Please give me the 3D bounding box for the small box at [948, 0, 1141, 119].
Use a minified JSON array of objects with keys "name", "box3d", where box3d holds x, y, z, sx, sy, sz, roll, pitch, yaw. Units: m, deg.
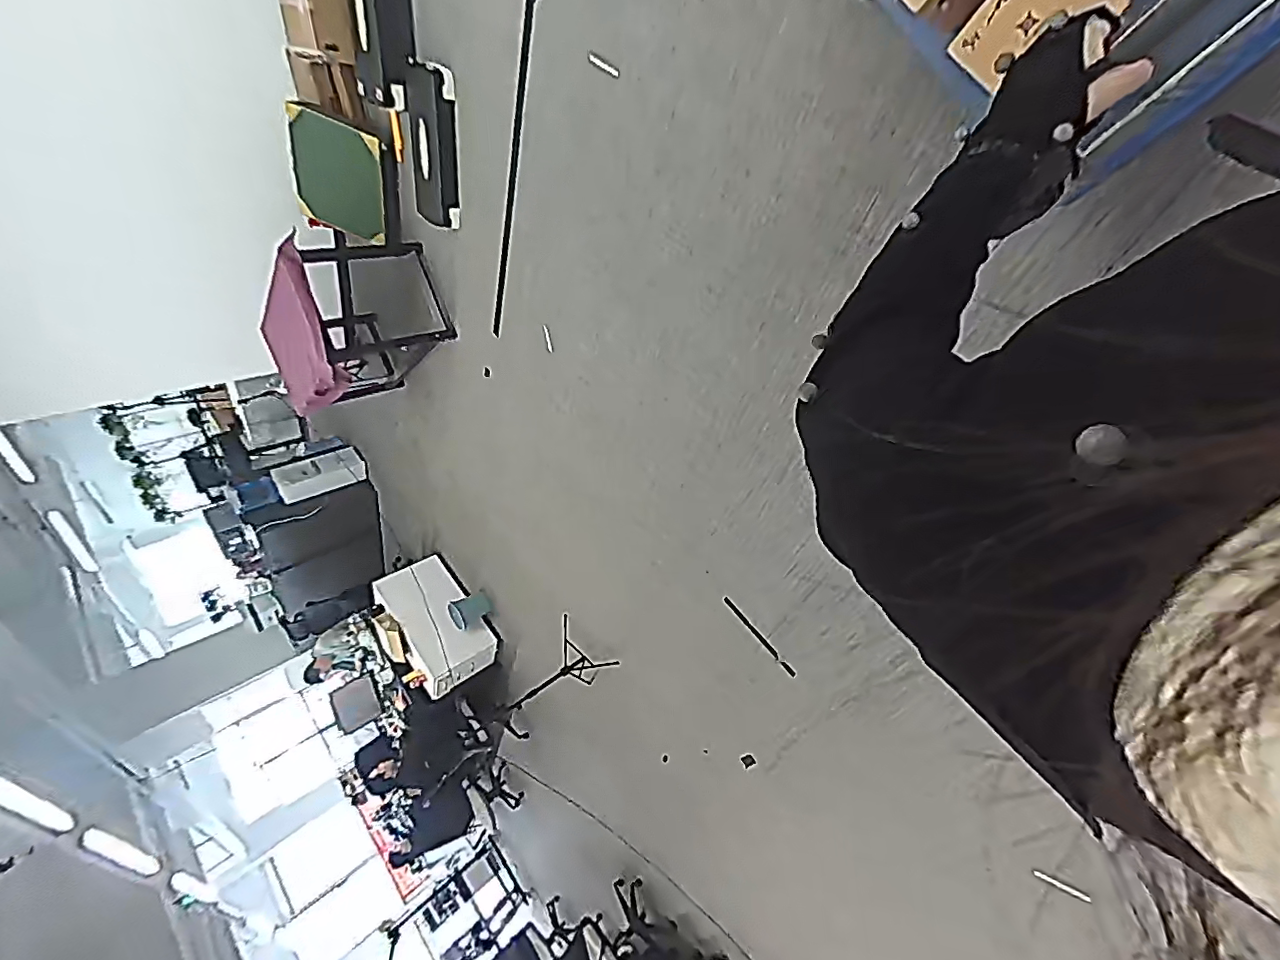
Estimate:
[{"name":"small box","box3d":[0.641,-0.707,0.857,0.179,0.176,0.168,55,139,11]}]
